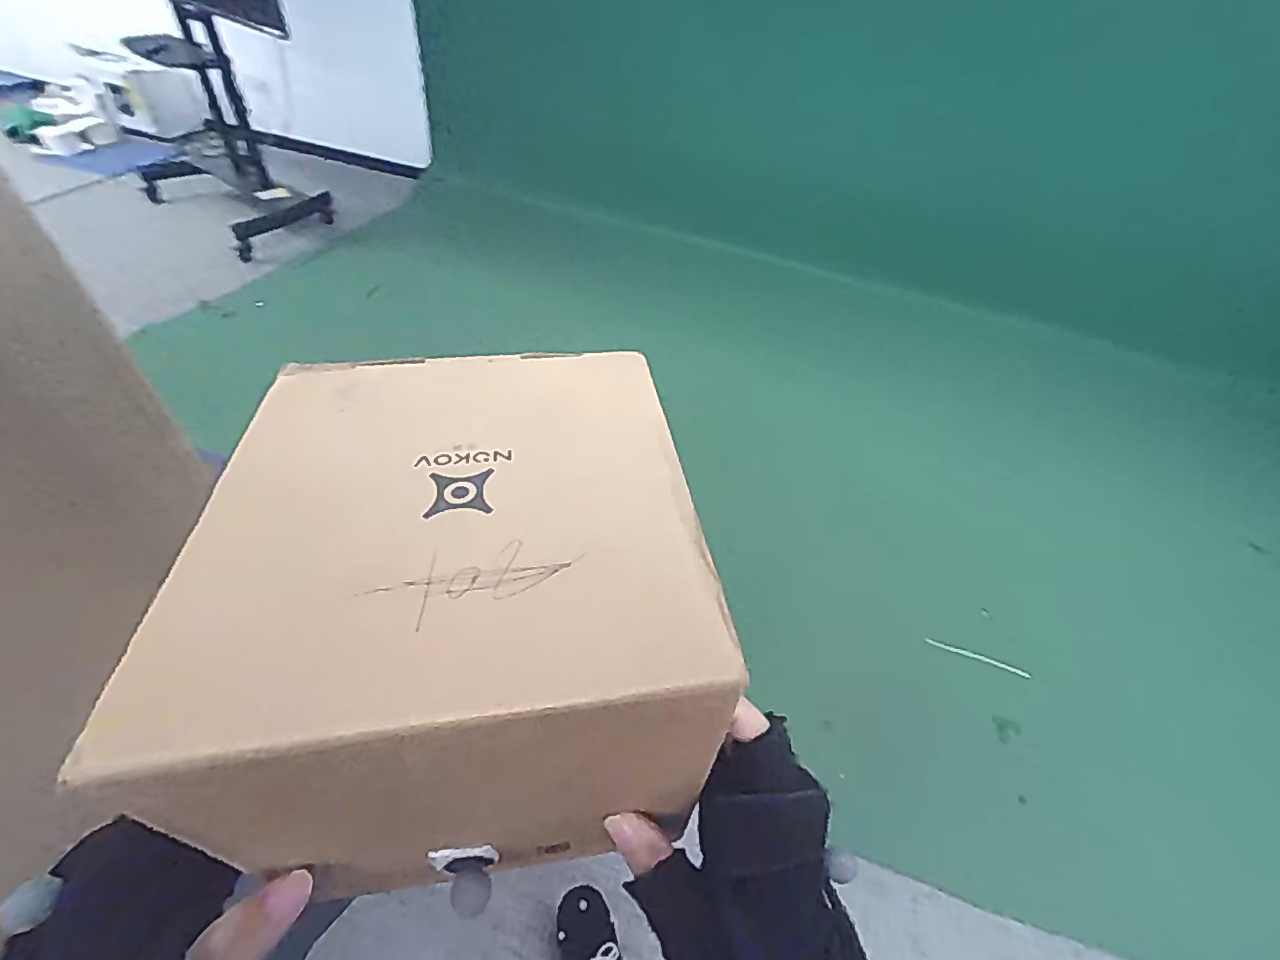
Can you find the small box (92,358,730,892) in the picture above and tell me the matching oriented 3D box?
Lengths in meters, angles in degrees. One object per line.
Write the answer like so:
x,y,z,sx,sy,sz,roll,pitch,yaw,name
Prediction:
-0.070,0.062,0.256,0.168,0.176,0.179,-5,46,-8,small box
